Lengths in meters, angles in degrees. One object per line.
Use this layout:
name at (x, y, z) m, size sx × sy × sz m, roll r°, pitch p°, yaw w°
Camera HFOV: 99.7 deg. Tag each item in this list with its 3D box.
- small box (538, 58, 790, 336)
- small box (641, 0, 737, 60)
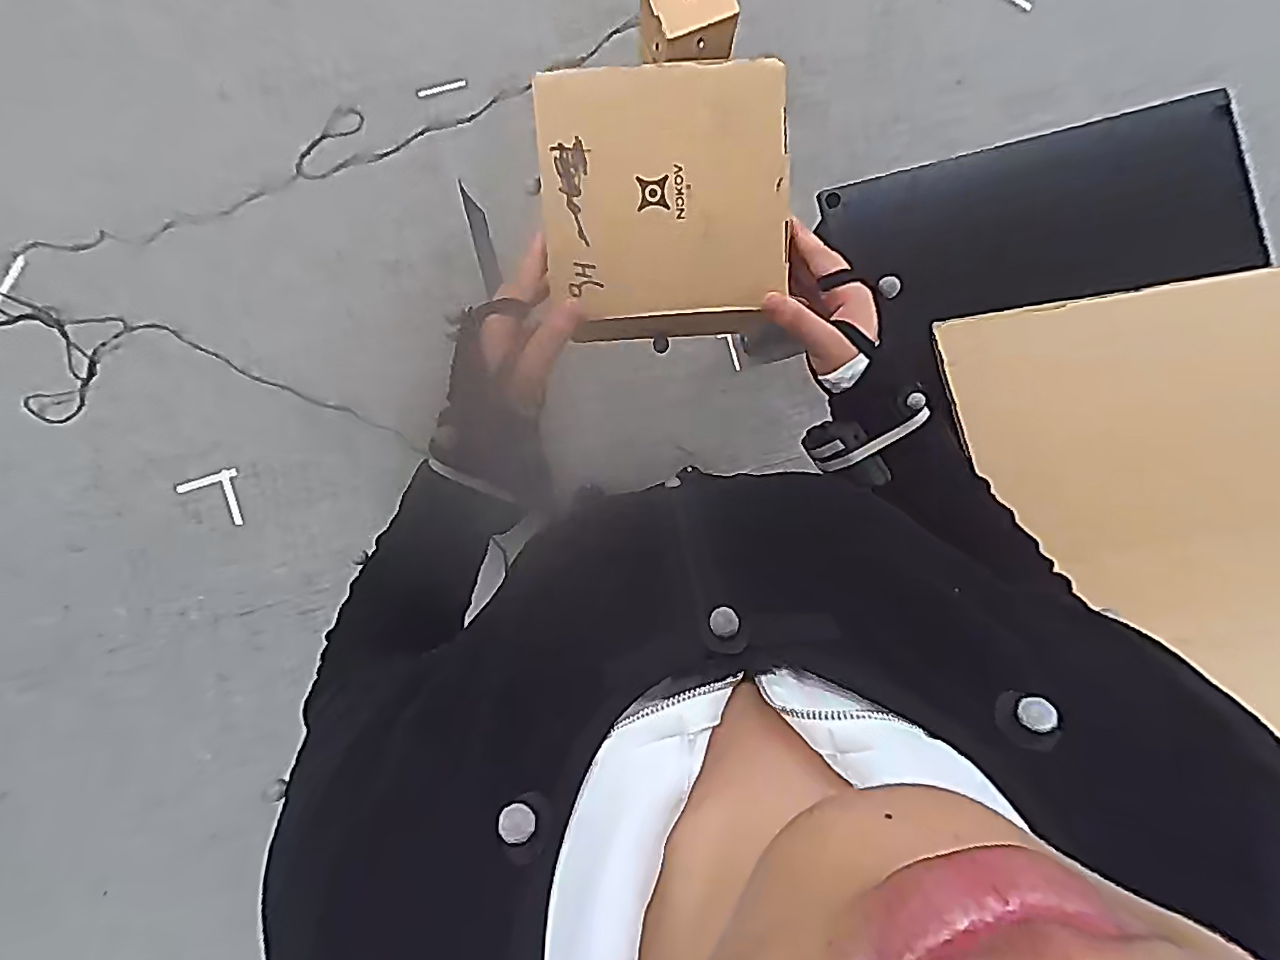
small box at (0.015, -0.219, 0.461) m, size 0.179 × 0.176 × 0.168 m, roll -4°, pitch 98°, yaw -3°
small box at (0.106, -1.075, 1.267) m, size 0.179 × 0.176 × 0.168 m, roll -21°, pitch 90°, yaw -1°
